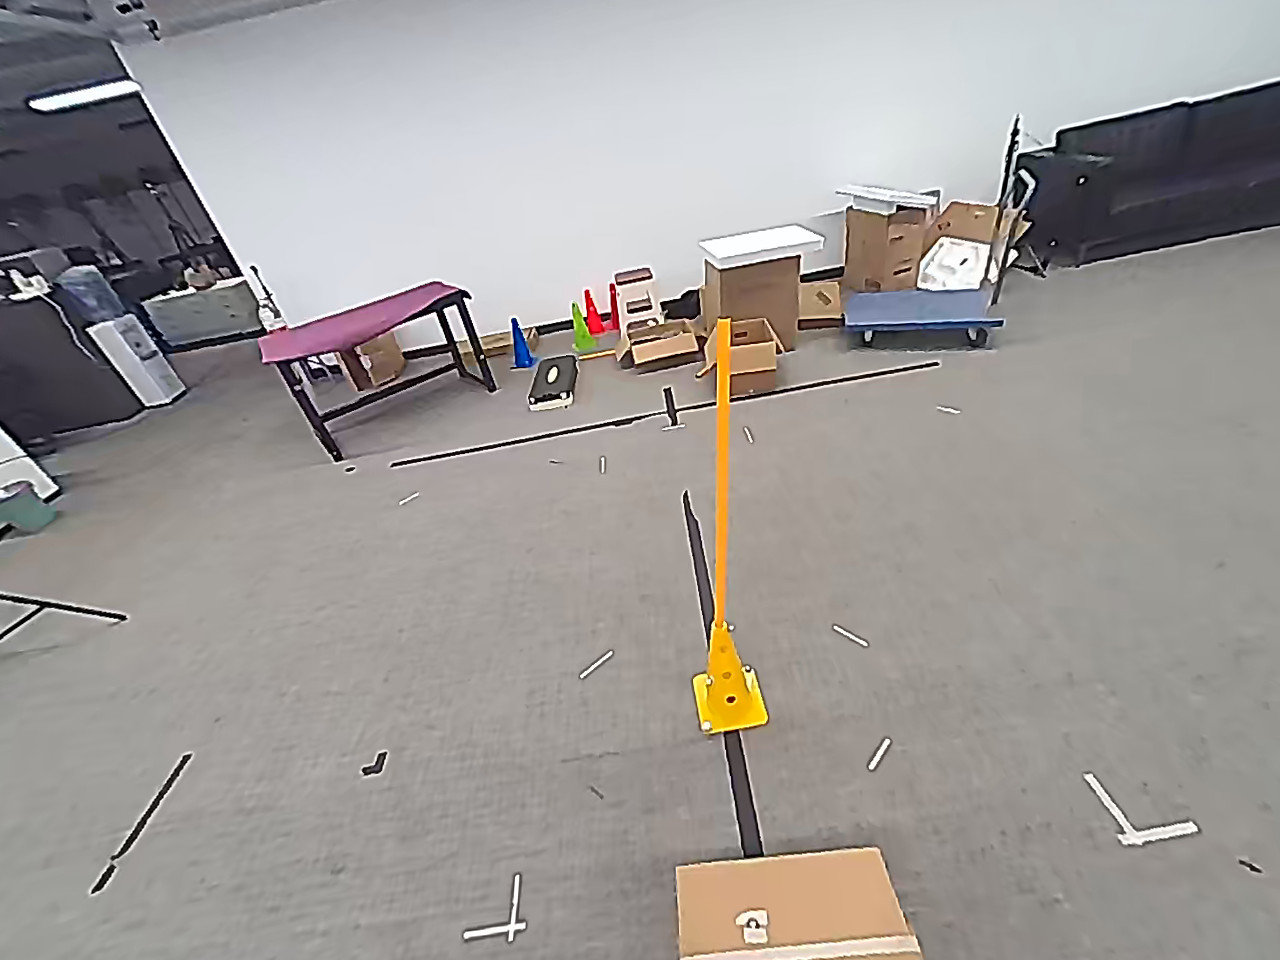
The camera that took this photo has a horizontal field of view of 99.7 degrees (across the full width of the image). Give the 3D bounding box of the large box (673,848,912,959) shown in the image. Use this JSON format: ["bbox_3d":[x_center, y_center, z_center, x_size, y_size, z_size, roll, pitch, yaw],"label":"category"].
[{"bbox_3d":[0.293,0.961,1.025,0.408,0.320,0.320,-9,31,3],"label":"large box"}]
